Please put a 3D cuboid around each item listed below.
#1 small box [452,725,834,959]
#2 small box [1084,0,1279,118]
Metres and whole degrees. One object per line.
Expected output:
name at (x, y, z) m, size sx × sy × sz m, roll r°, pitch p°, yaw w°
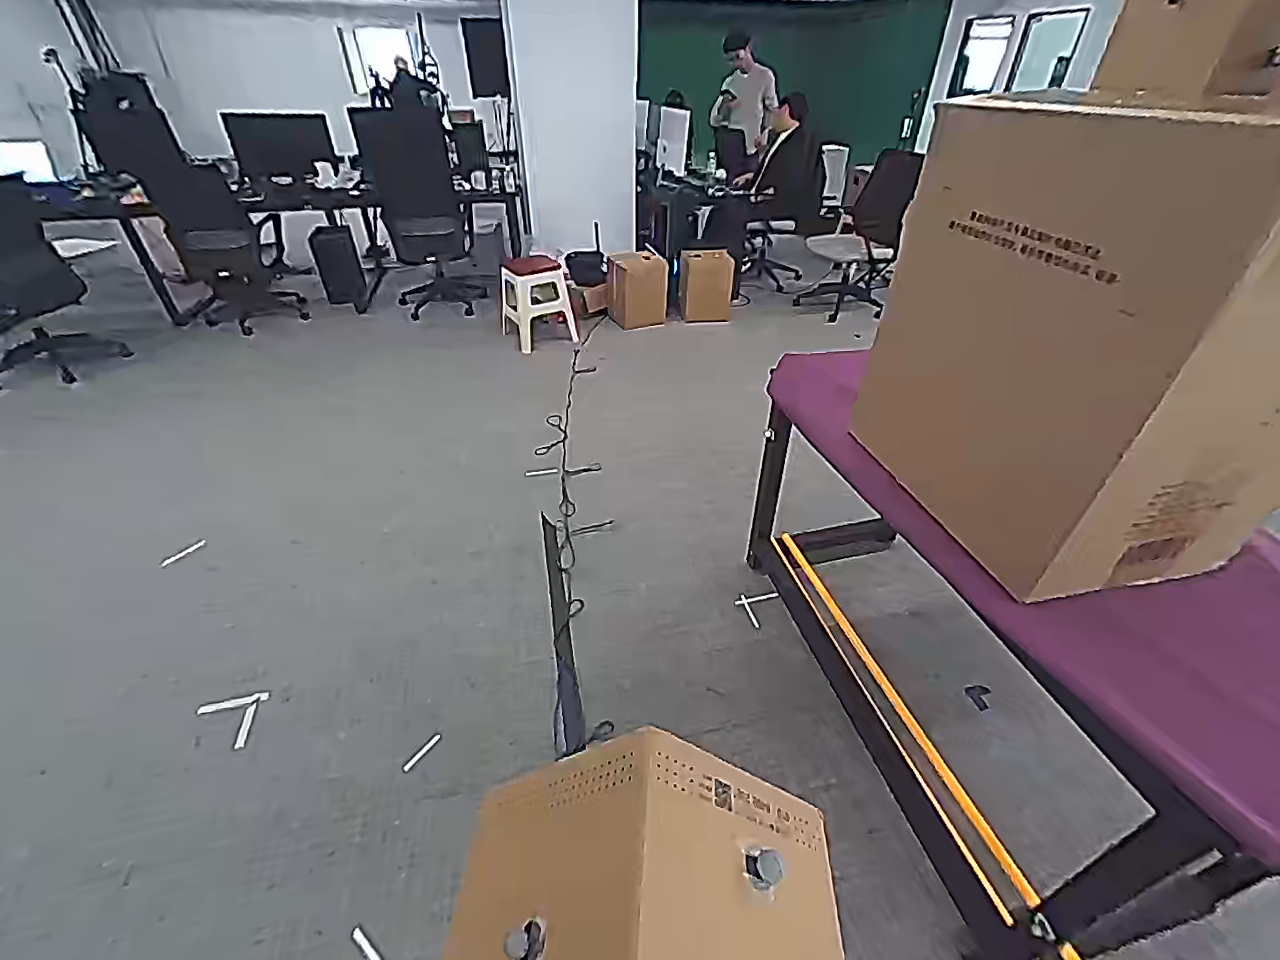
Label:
small box at (0.003, 0.276, 0.323) m, size 0.168 × 0.179 × 0.176 m, roll 37°, pitch 34°, yaw -25°
small box at (0.783, -0.610, 0.749) m, size 0.168 × 0.176 × 0.179 m, roll -9°, pitch 39°, yaw -10°
